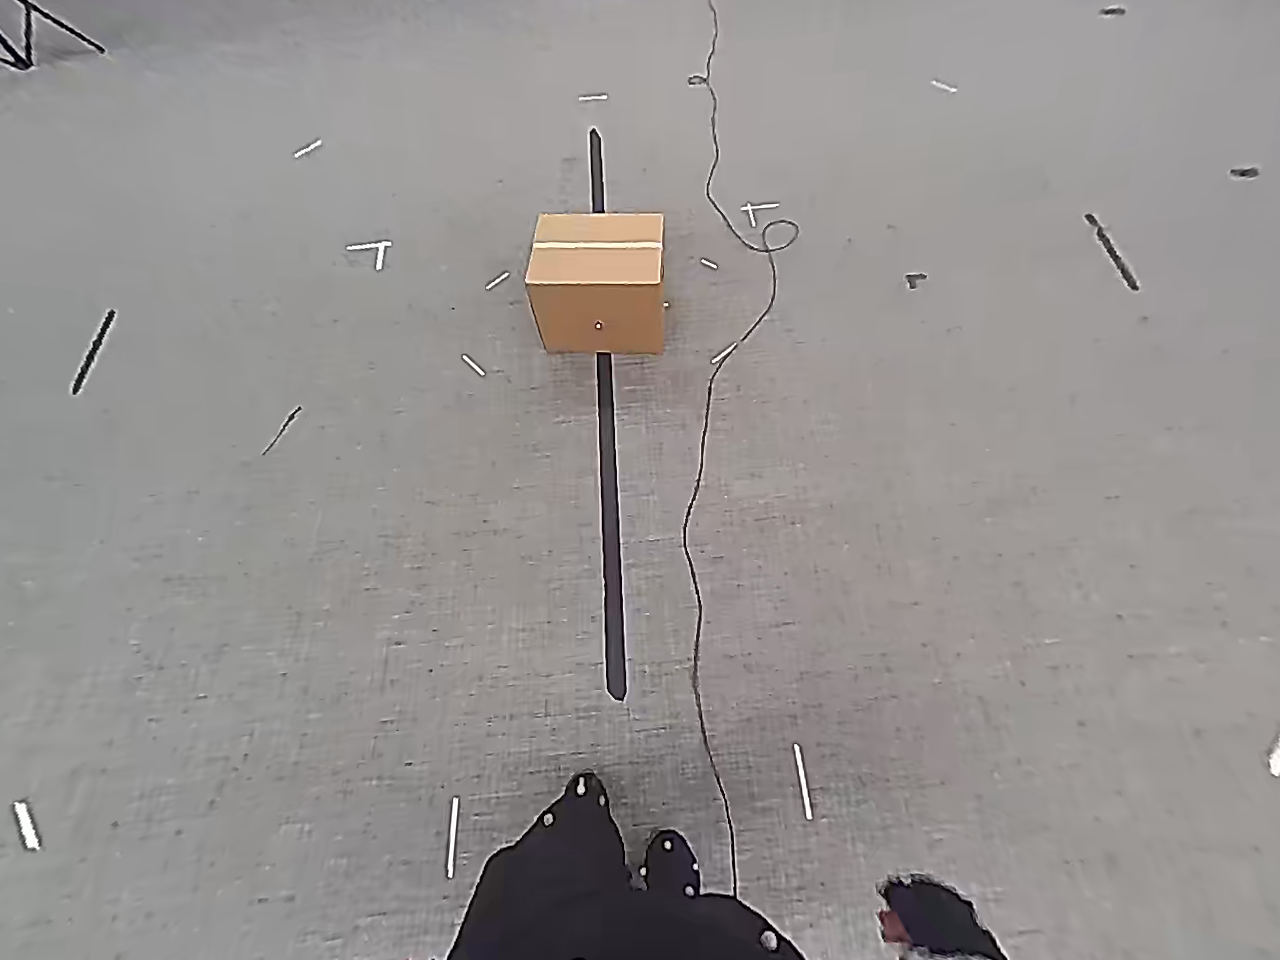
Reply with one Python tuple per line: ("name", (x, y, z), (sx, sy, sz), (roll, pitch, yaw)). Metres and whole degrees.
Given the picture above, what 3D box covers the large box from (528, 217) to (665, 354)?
("large box", (-0.124, -0.632, 1.778), (0.408, 0.320, 0.320), (2, 63, 4))
